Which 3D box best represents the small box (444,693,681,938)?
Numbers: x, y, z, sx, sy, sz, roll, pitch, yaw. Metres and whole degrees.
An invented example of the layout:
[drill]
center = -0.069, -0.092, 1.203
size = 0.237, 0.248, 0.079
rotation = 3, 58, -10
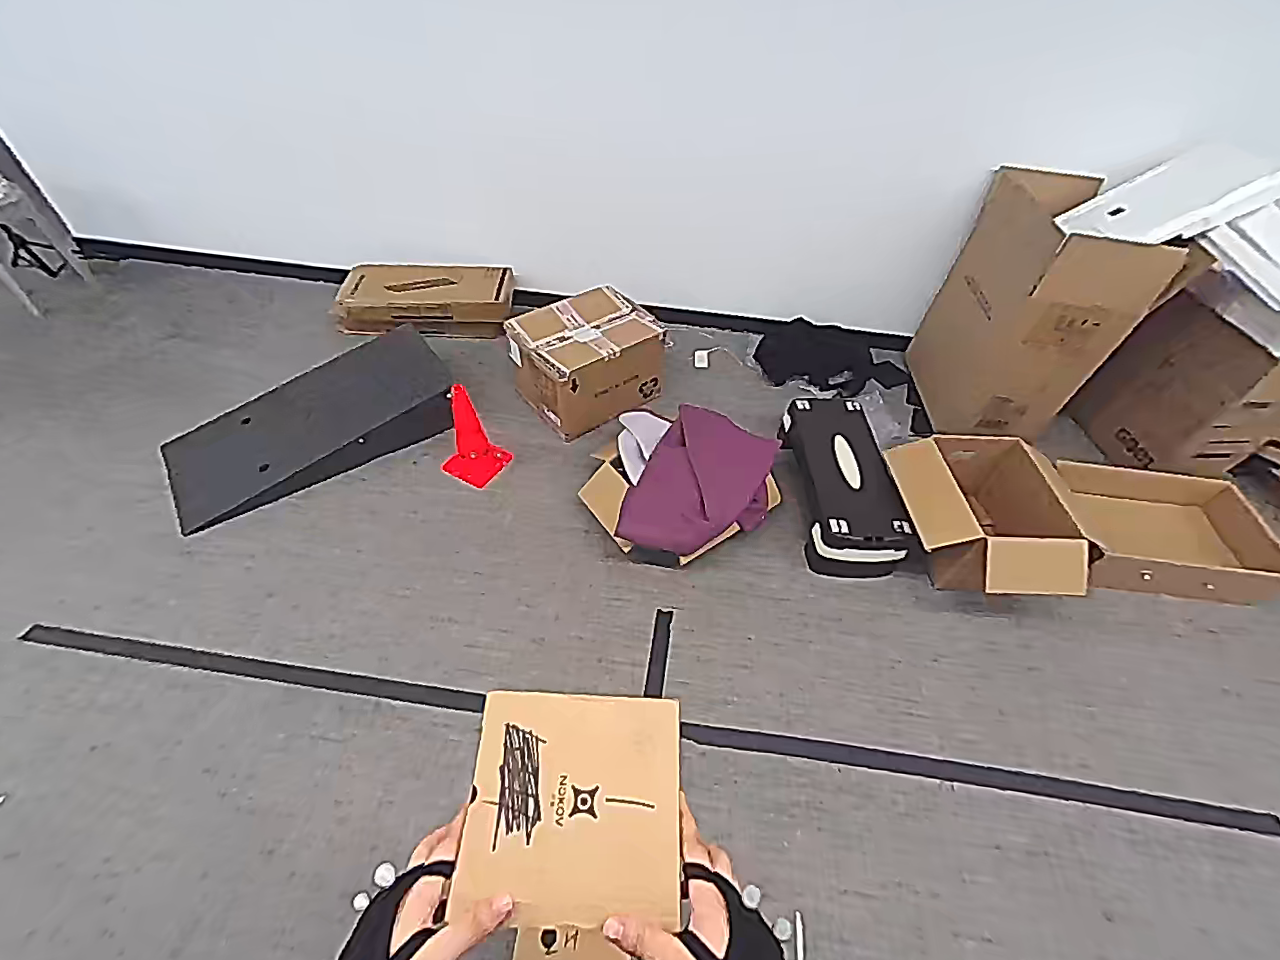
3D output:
[small box]
center = -0.056, 0.308, 0.501
size = 0.179, 0.176, 0.168
rotation = 3, 54, -1
